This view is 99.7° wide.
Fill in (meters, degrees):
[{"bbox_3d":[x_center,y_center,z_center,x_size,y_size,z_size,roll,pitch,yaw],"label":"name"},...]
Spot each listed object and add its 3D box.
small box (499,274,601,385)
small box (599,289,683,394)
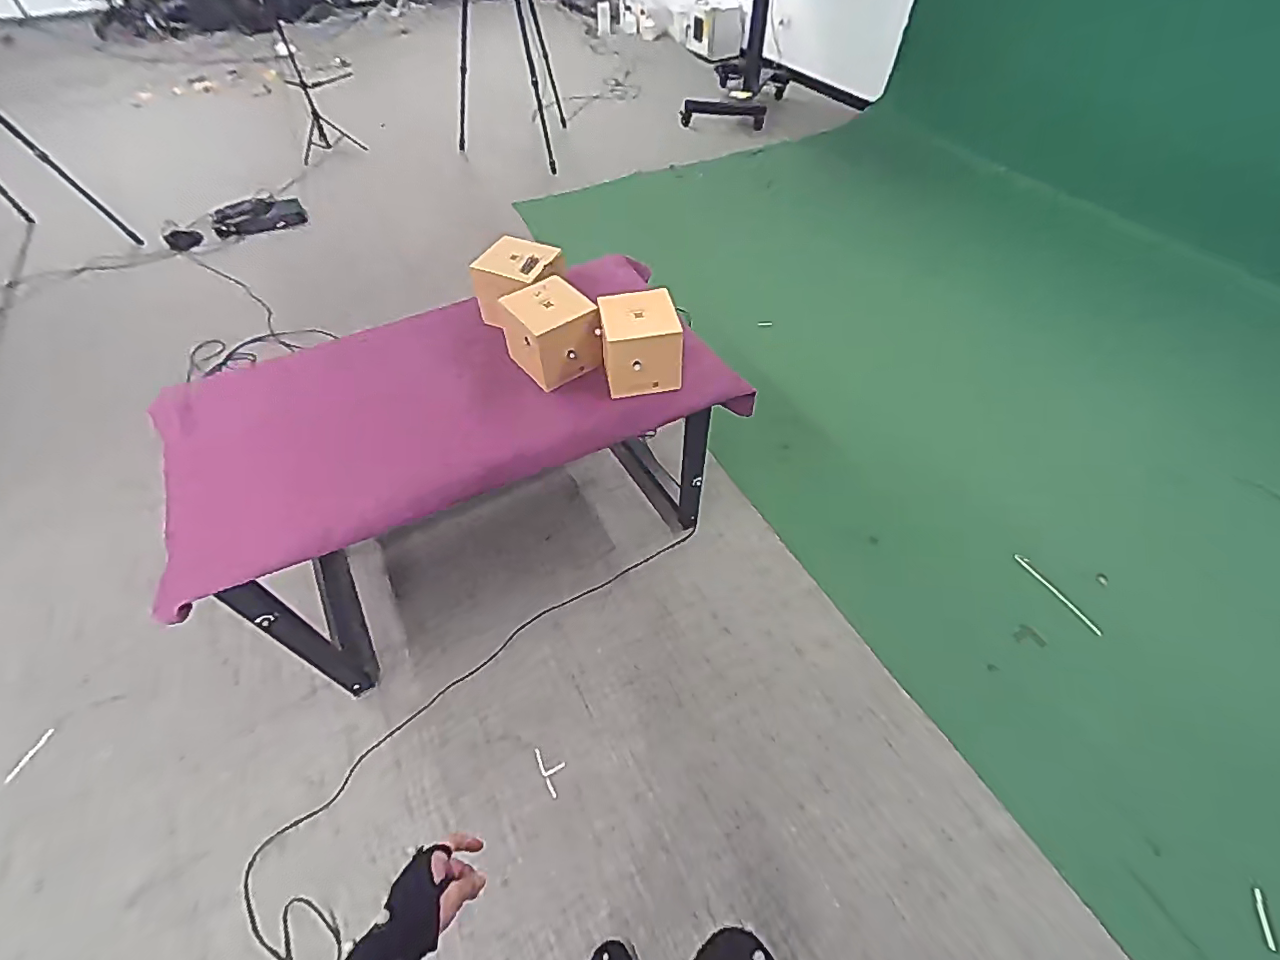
[{"bbox_3d":[-0.205,-0.348,1.278,0.168,0.176,0.179,-32,58,-22],"label":"small box"},{"bbox_3d":[0.002,-0.313,1.249,0.168,0.176,0.179,-9,51,-6],"label":"small box"}]
